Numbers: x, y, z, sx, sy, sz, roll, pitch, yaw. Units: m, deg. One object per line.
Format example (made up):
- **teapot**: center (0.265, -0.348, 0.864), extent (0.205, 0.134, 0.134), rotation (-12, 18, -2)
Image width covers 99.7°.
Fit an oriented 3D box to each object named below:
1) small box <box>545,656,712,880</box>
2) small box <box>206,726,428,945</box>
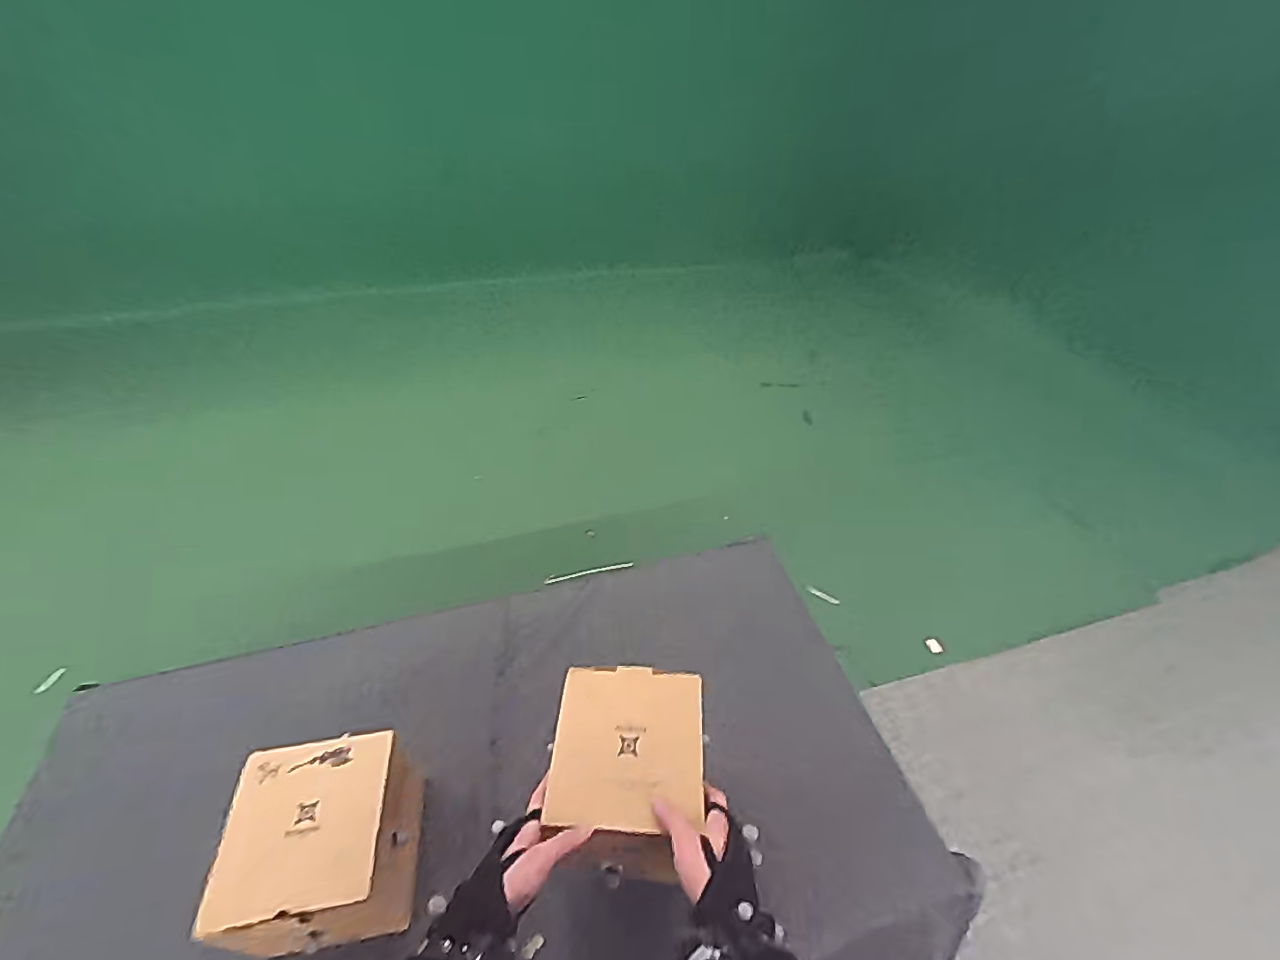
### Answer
- **small box**: center (-0.004, 0.337, 0.639), extent (0.168, 0.176, 0.179), rotation (3, 40, 5)
- **small box**: center (-0.367, 0.434, 0.657), extent (0.168, 0.176, 0.179), rotation (-9, 44, -9)
